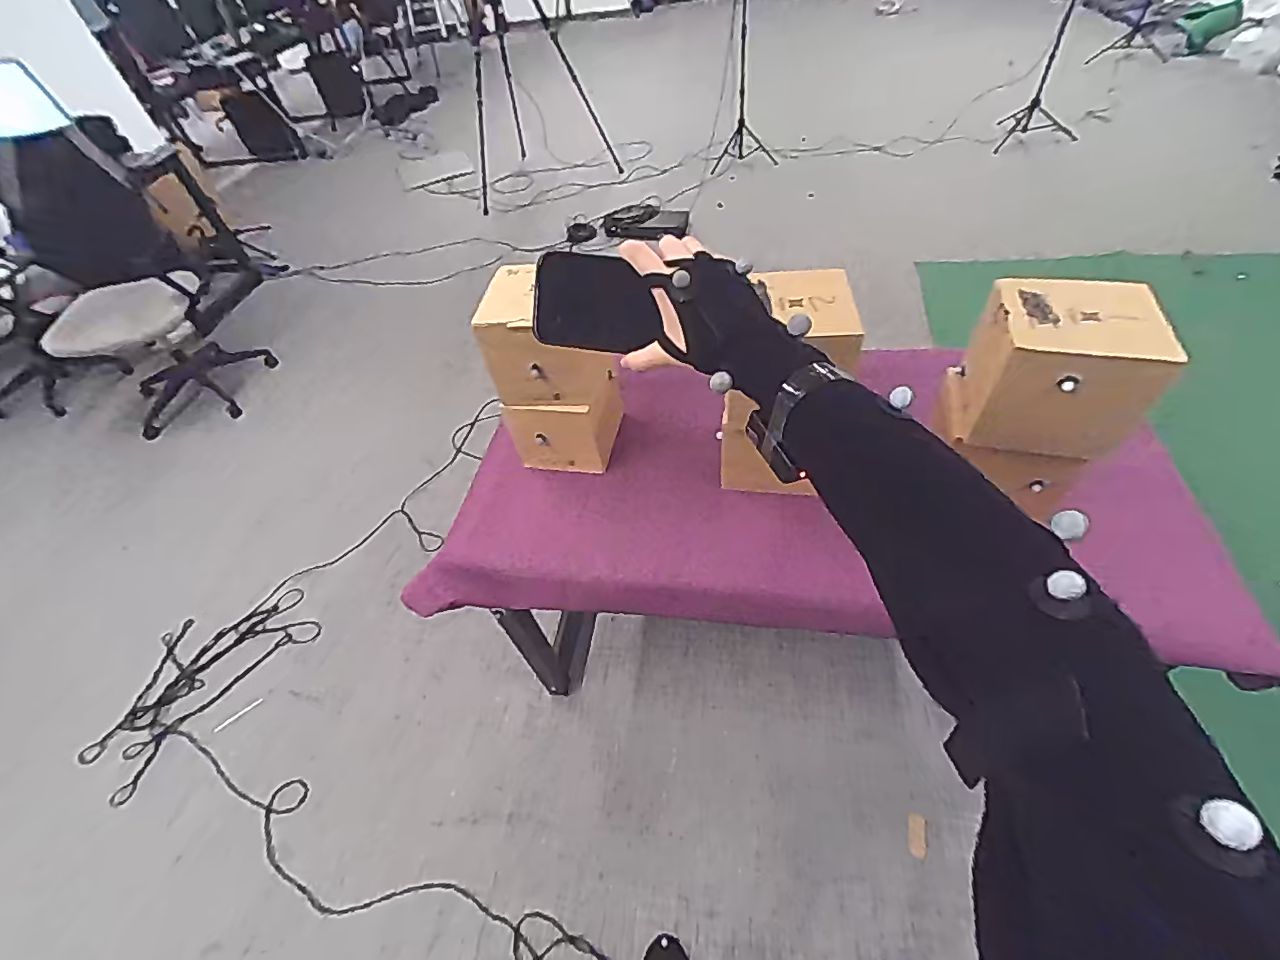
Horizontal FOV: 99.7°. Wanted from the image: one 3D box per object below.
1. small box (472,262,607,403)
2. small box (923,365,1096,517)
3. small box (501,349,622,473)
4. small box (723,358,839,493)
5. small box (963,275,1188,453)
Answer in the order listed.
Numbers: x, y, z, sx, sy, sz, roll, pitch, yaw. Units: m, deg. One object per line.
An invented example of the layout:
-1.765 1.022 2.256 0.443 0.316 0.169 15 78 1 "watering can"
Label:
-0.157 -0.244 0.917 0.168 0.176 0.179 0 50 9 "small box"
0.568 -0.060 0.859 0.179 0.176 0.168 8 51 16 "small box"
-0.138 -0.131 1.034 0.168 0.176 0.179 4 50 13 "small box"
0.239 -0.092 0.938 0.179 0.176 0.168 3 50 12 "small box"
0.554 -0.154 0.725 0.179 0.176 0.168 9 51 15 "small box"
